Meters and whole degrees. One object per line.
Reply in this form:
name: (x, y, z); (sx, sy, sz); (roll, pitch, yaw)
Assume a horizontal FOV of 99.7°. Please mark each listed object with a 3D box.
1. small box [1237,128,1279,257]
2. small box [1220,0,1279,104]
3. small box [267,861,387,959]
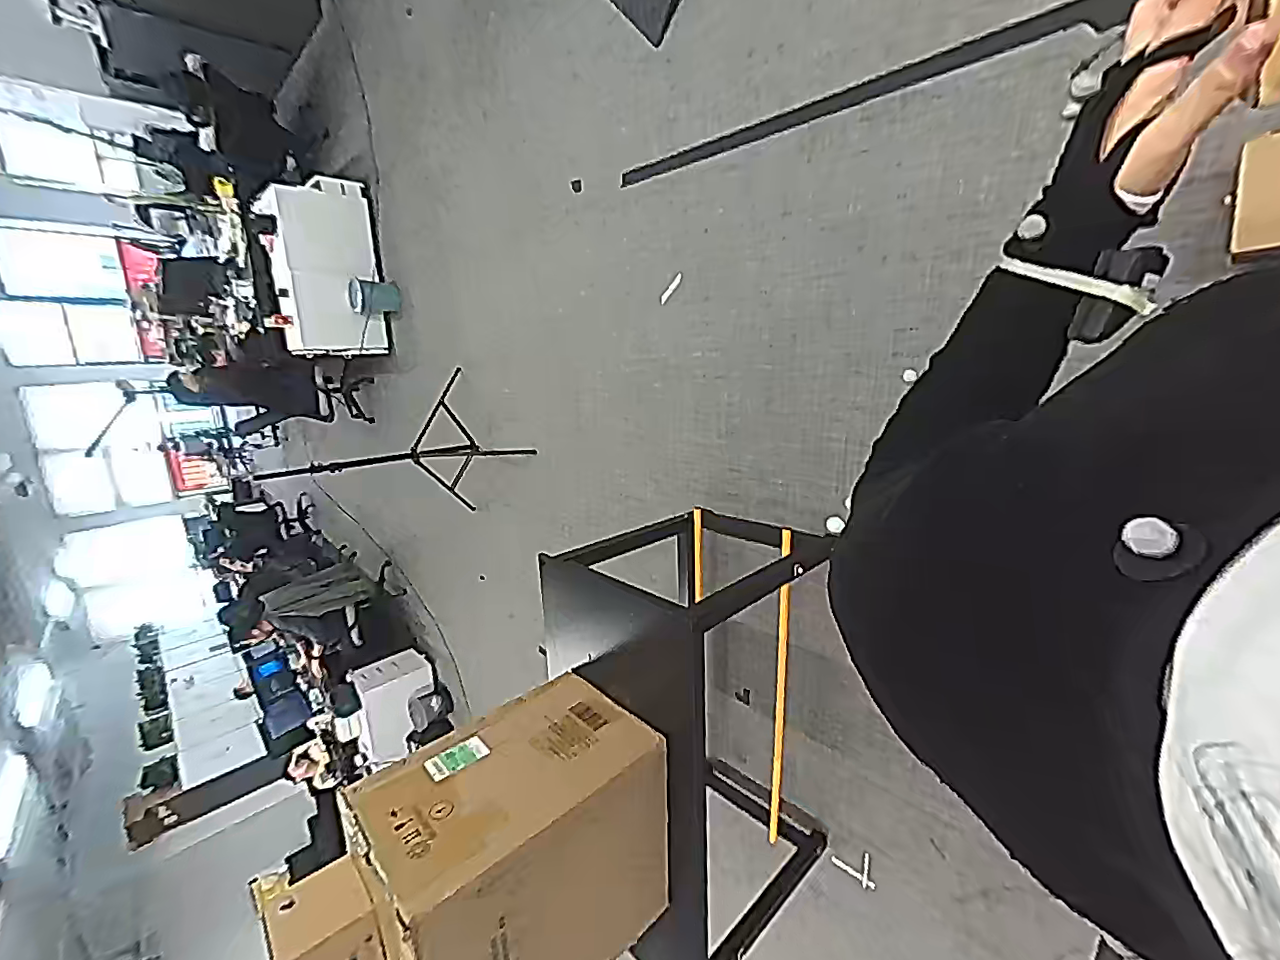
small box: (1.085, -0.470, 0.864); (0.168, 0.176, 0.179); (6, 107, 48)
small box: (0.416, -0.309, 0.258); (0.179, 0.176, 0.168); (4, 123, 42)
small box: (-0.622, 0.913, 1.080); (0.179, 0.176, 0.168); (10, 109, 48)
